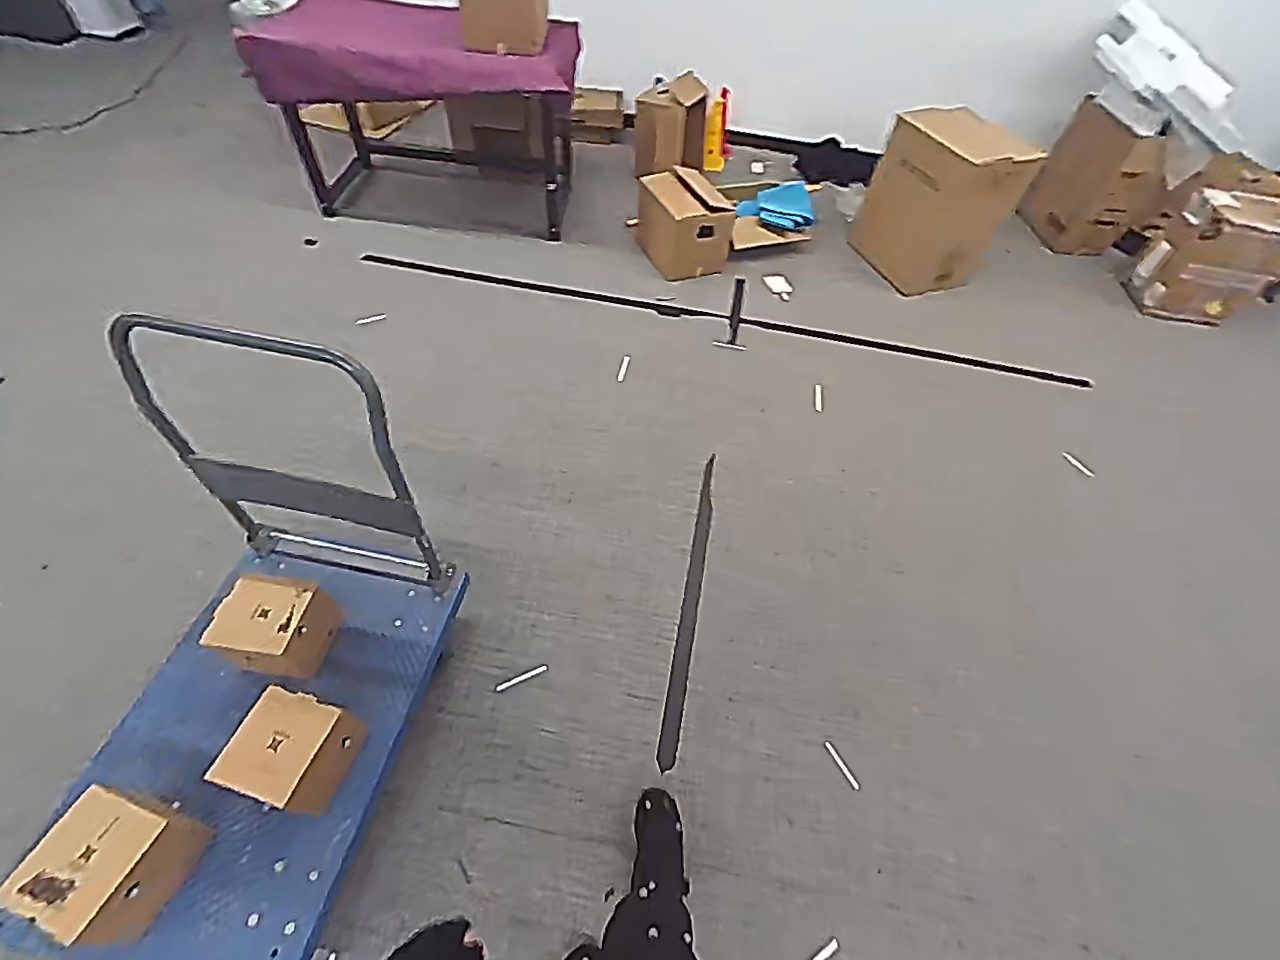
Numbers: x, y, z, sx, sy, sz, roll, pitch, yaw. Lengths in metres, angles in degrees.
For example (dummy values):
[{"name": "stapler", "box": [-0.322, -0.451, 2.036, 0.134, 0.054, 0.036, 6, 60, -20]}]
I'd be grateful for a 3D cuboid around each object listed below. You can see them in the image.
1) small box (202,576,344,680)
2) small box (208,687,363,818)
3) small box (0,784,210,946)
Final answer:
[{"name": "small box", "box": [-0.815, 0.337, 1.222, 0.179, 0.176, 0.168, 8, 53, 1]}, {"name": "small box", "box": [-0.685, 0.545, 1.076, 0.168, 0.176, 0.179, 15, 54, 8]}, {"name": "small box", "box": [-0.922, 0.673, 0.949, 0.168, 0.176, 0.179, 19, 52, 9]}]
